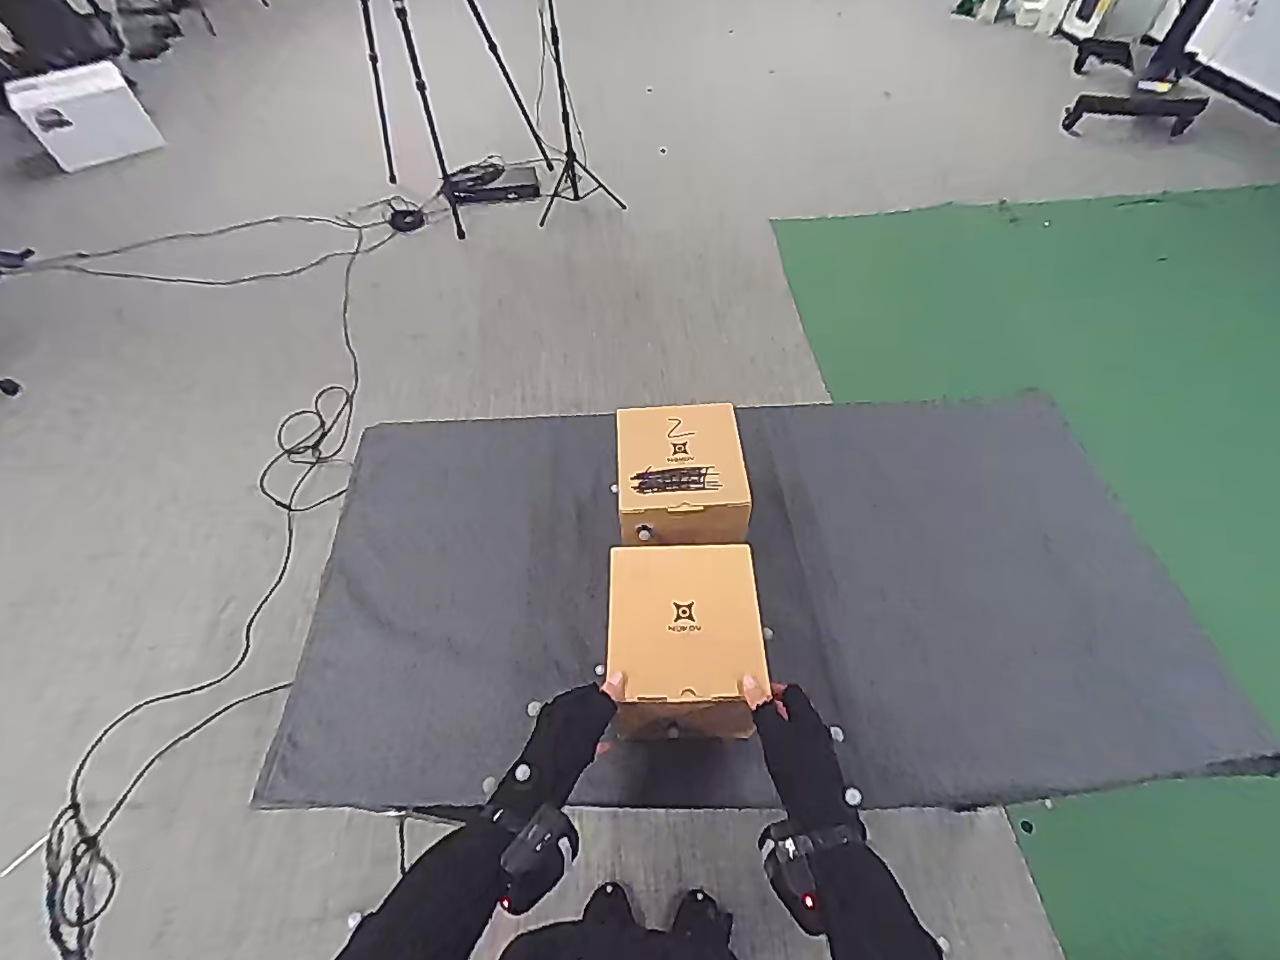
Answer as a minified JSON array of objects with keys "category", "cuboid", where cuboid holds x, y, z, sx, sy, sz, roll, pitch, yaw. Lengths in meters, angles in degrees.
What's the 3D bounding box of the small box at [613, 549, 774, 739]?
[{"category":"small box","cuboid":[0.056,0.201,0.654,0.168,0.176,0.179,-1,54,2]}]
